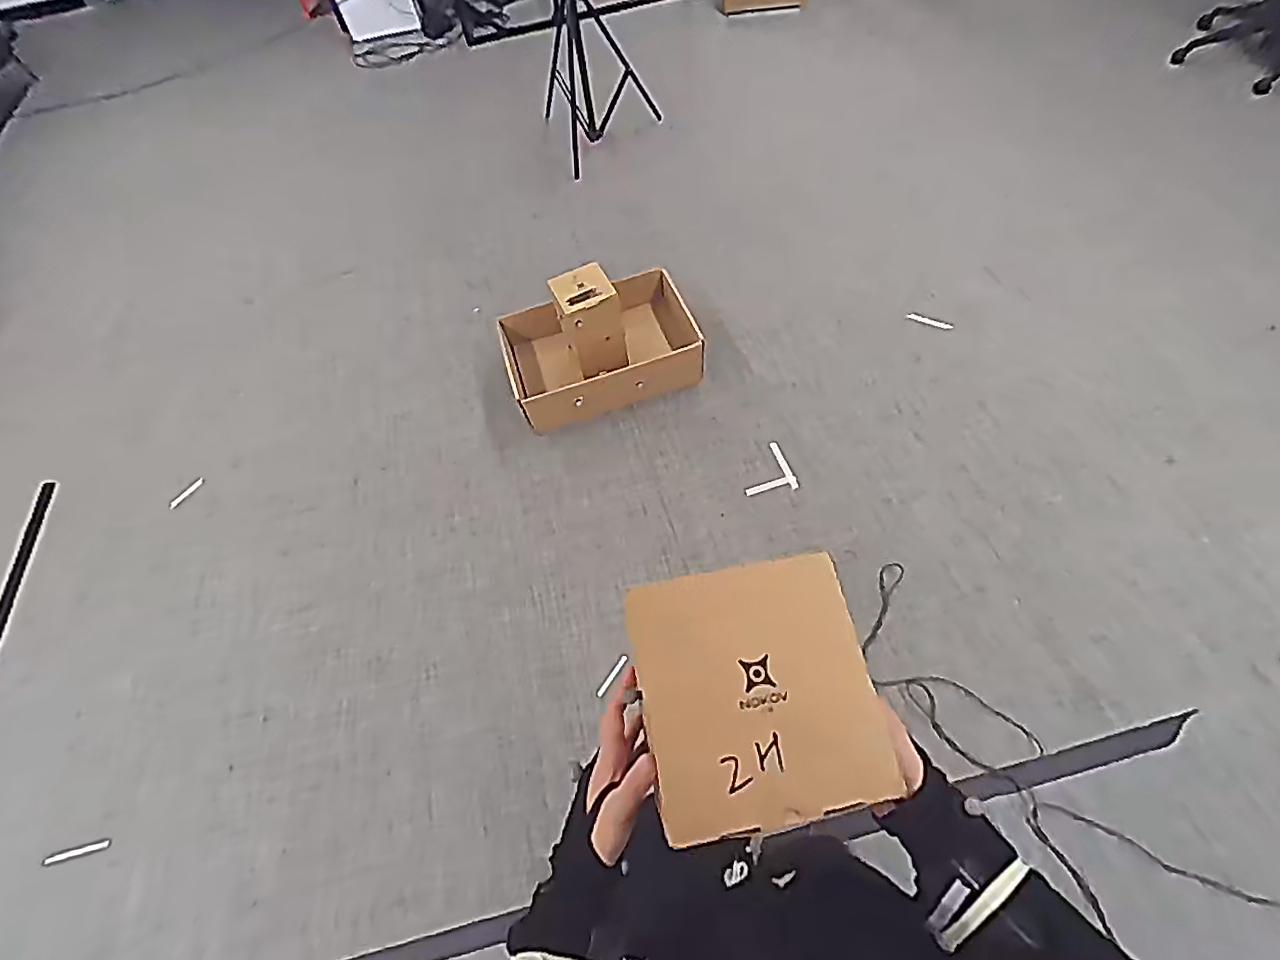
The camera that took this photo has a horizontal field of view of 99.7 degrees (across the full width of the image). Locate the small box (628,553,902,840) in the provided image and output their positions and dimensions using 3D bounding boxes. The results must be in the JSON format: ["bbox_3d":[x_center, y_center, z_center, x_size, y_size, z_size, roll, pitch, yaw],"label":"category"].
[{"bbox_3d":[0.083,0.180,0.467,0.168,0.176,0.179,-9,67,-5],"label":"small box"}]

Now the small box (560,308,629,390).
[{"bbox_3d":[-0.150,-0.436,1.811,0.168,0.176,0.179,-24,61,-7],"label":"small box"}]
